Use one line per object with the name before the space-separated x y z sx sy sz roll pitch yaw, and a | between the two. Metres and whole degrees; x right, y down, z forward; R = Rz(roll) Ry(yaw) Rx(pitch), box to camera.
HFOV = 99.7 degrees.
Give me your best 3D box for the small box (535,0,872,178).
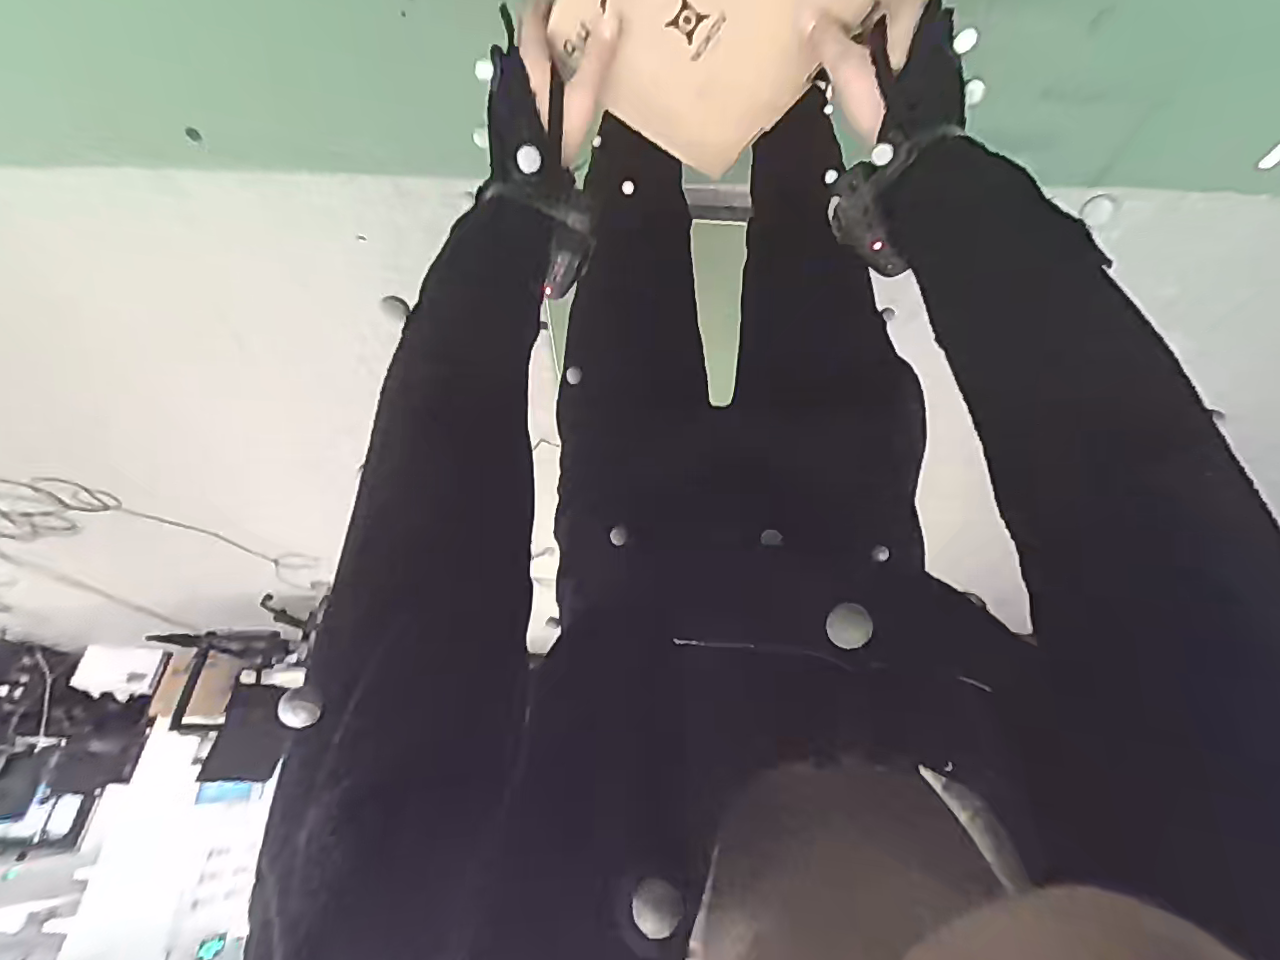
small box | 0.043 -0.383 0.402 0.179 0.176 0.168 17 154 -28
